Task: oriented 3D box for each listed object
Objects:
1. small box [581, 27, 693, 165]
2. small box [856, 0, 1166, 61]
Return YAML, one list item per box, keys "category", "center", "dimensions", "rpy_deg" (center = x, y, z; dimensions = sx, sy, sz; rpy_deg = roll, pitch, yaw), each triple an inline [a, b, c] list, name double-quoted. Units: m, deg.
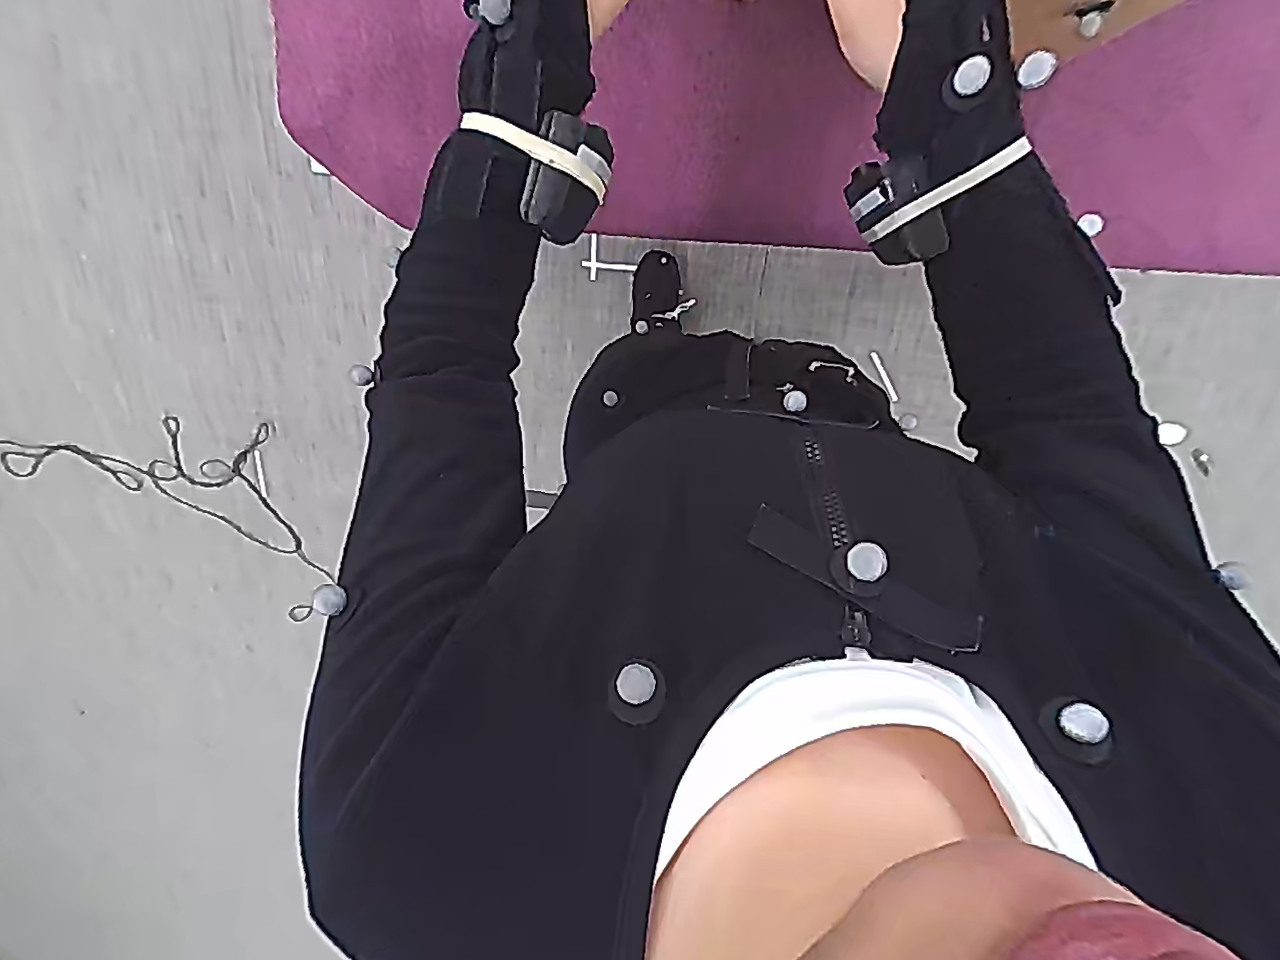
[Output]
- category: "small box"
  center: [-0.007, -0.666, 0.956]
  dimensions: [0.179, 0.176, 0.168]
  rpy_deg: [4, 113, 0]
- category: "small box"
  center: [0.279, -0.421, 0.374]
  dimensions: [0.179, 0.176, 0.168]
  rpy_deg: [5, 110, -1]
